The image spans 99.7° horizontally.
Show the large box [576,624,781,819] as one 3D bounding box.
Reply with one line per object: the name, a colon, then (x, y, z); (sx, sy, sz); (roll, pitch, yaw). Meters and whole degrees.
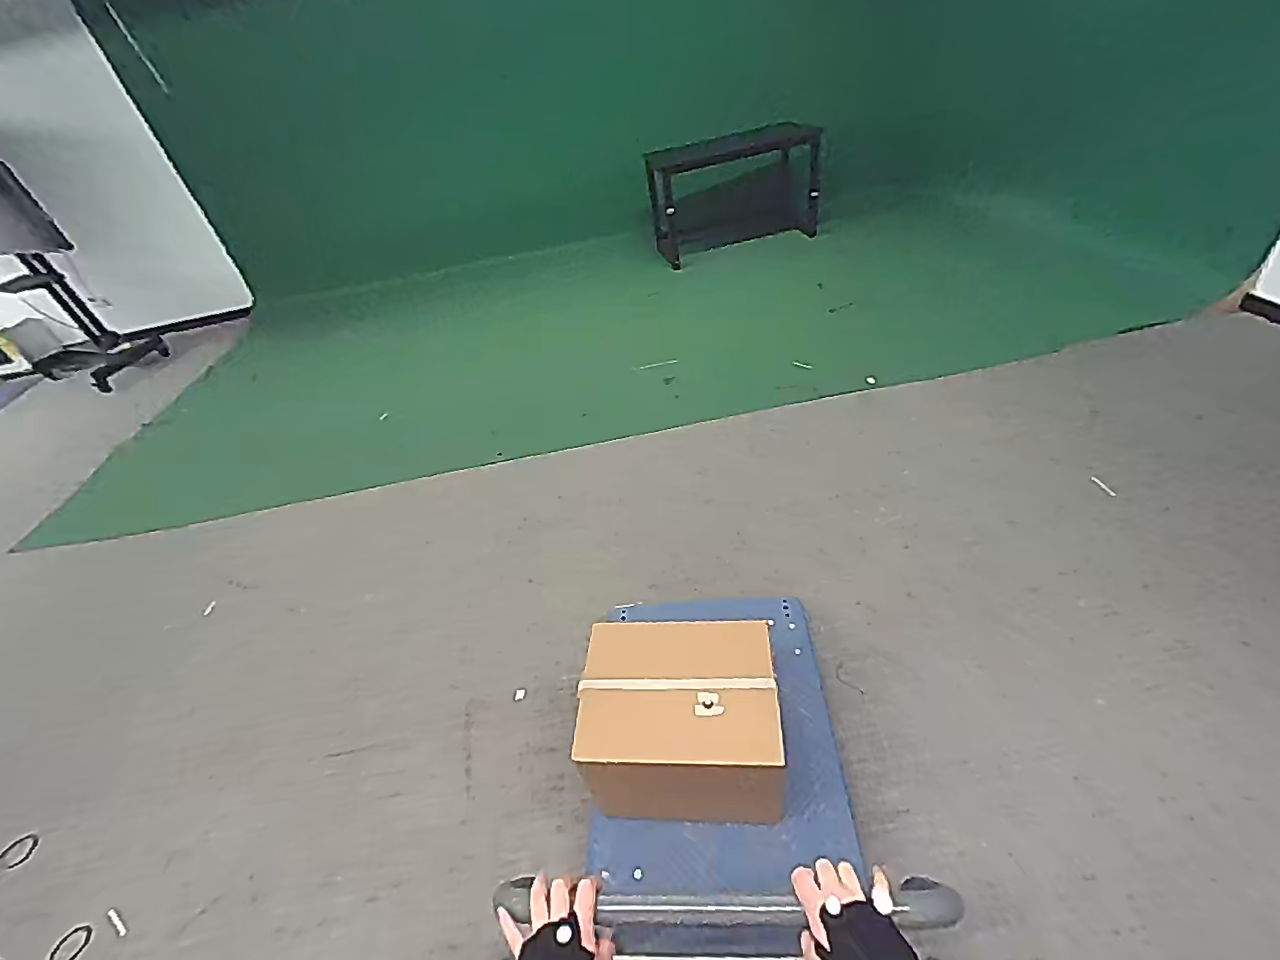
large box: (0.094, 0.551, 1.237); (0.408, 0.320, 0.320); (-3, 41, 8)
